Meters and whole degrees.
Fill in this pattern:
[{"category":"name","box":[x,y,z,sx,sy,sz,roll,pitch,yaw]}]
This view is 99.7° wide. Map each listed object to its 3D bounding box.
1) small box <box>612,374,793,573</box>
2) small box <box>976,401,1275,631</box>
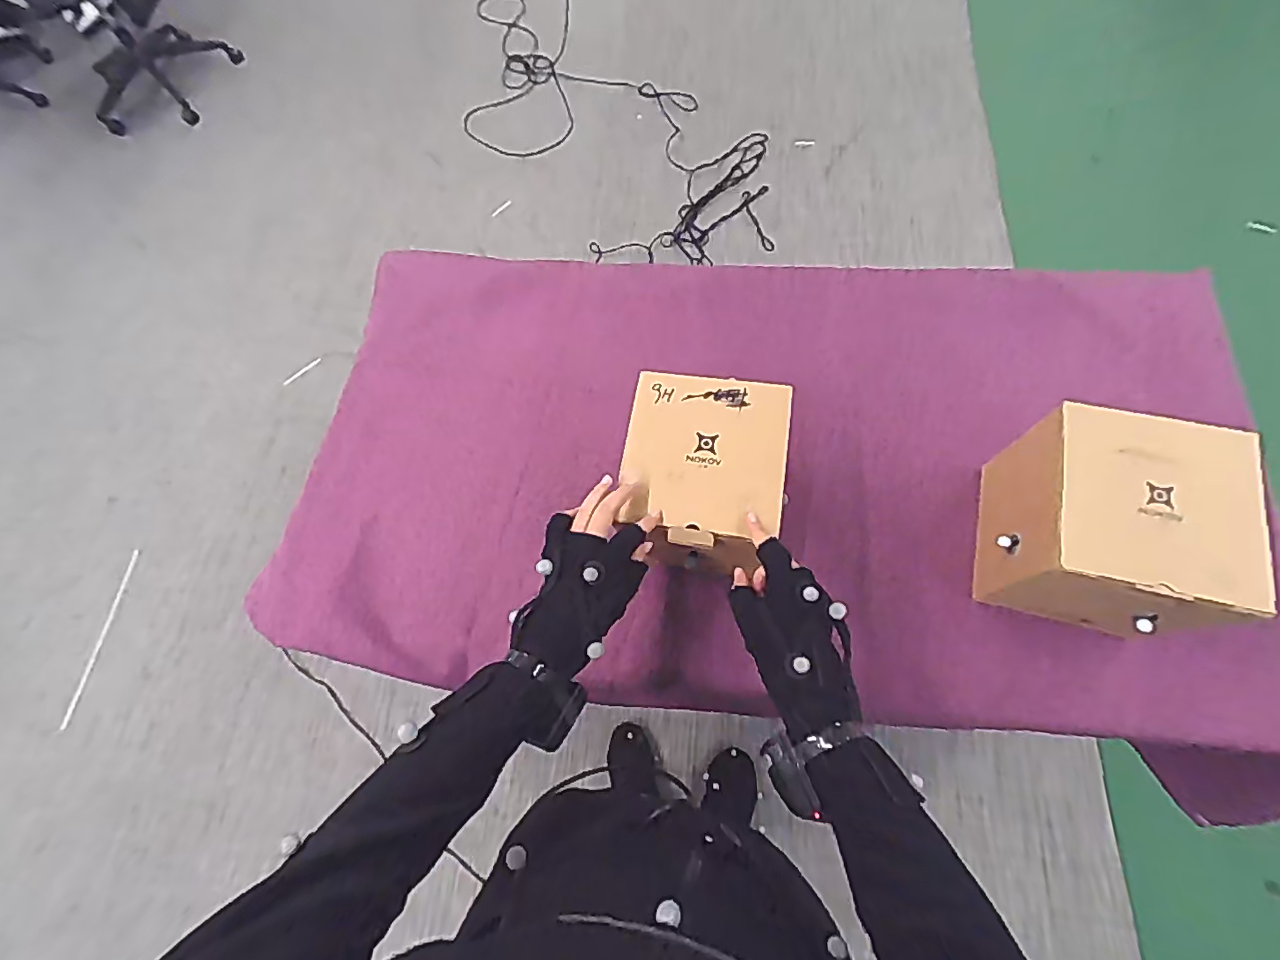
[{"category":"small box","box":[0.075,0.002,0.625,0.168,0.176,0.179,7,70,9]},{"category":"small box","box":[0.476,0.047,0.561,0.168,0.176,0.179,13,70,11]}]
